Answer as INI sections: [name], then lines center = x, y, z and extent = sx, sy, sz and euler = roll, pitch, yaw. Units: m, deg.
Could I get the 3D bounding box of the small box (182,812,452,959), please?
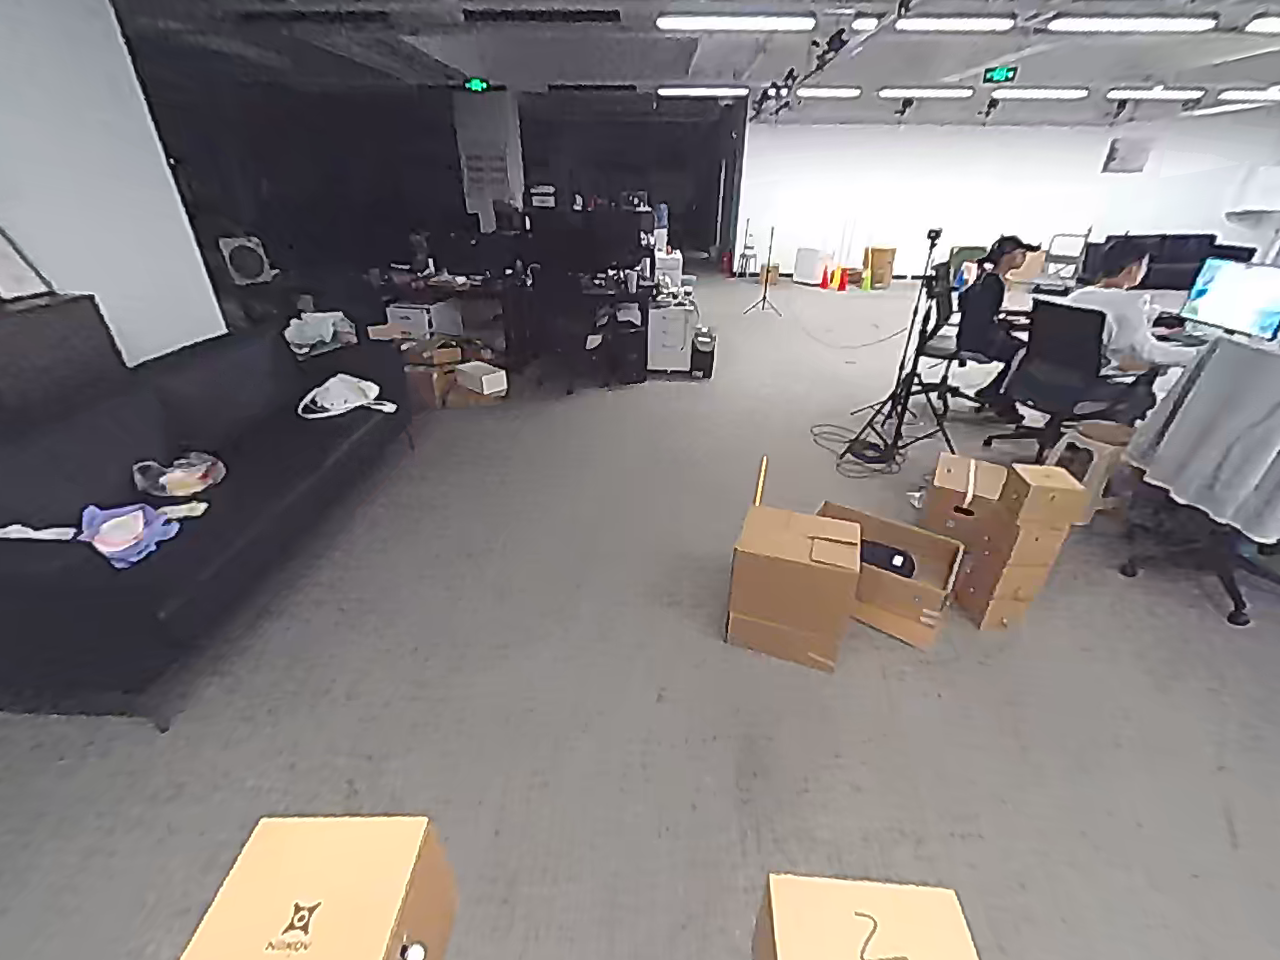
[small box]
center = -0.283, 0.439, 0.493
extent = 0.168, 0.176, 0.179
euler = 0, 31, 0
